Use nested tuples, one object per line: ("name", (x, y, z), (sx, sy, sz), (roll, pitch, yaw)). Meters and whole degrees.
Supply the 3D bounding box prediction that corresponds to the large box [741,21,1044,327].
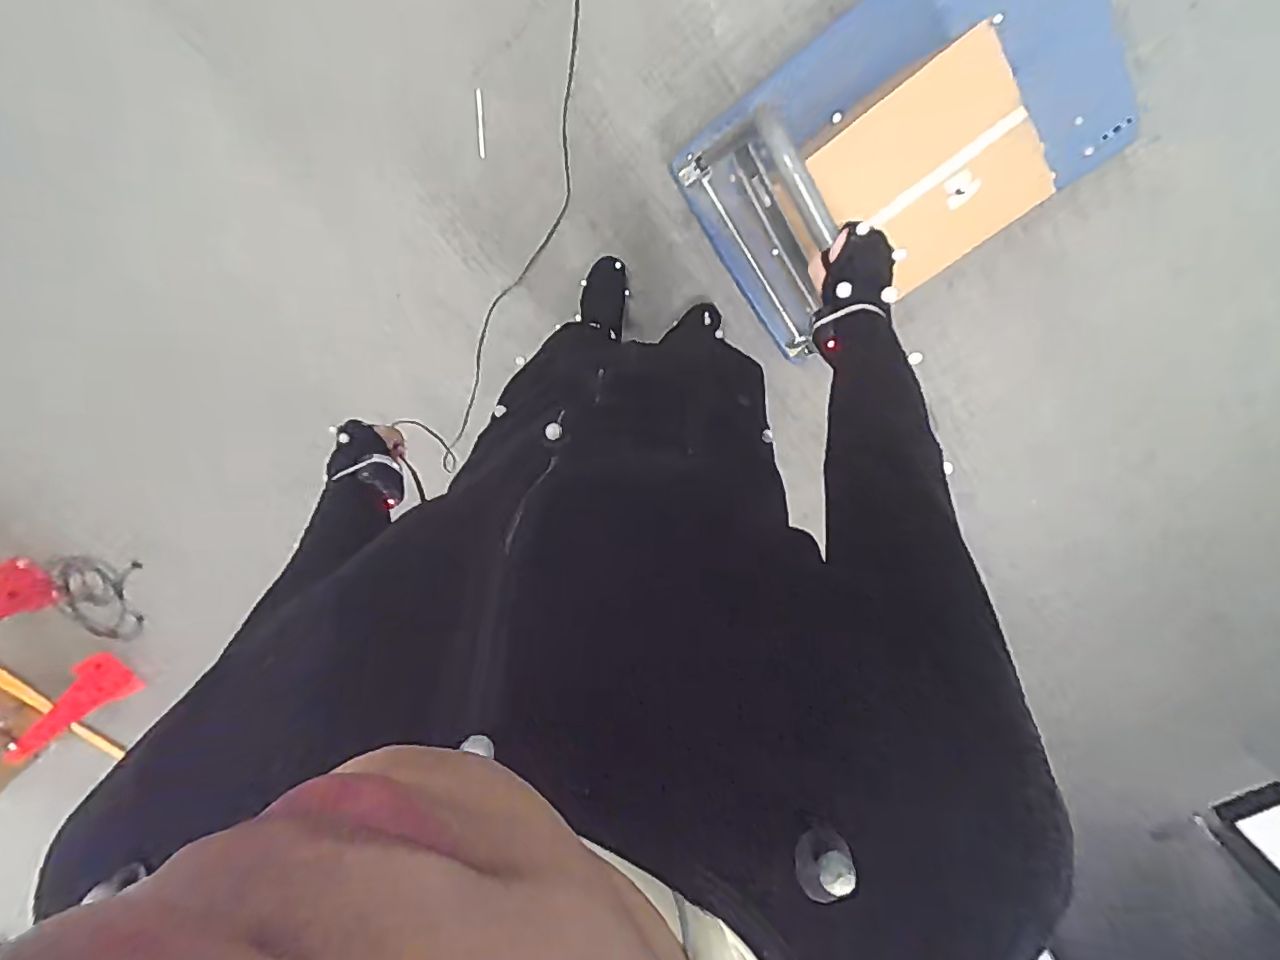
("large box", (0.473, -0.577, 1.098), (0.408, 0.320, 0.320), (-34, 112, 14))
